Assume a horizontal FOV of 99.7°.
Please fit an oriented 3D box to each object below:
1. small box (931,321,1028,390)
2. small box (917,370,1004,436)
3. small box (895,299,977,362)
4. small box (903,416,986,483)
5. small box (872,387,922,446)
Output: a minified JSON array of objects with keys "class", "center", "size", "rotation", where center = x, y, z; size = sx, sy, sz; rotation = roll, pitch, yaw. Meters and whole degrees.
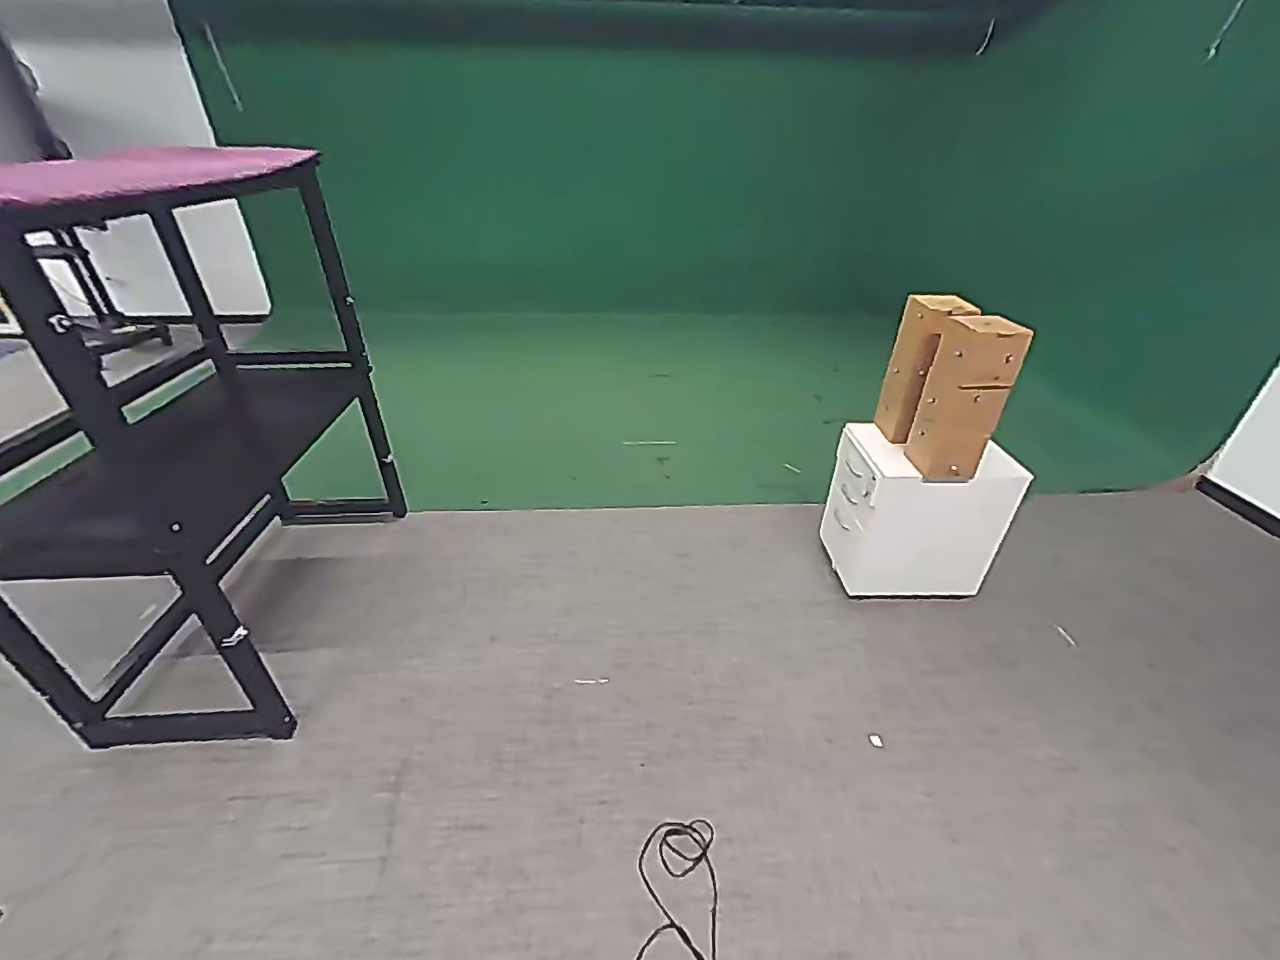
[{"class":"small box","center":[1.031,-0.383,1.658],"size":[0.168,0.176,0.179],"rotation":[0,31,-2]},{"class":"small box","center":[1.027,-0.249,1.752],"size":[0.179,0.176,0.168],"rotation":[-1,33,-4]},{"class":"small box","center":[1.008,-0.513,1.863],"size":[0.168,0.176,0.179],"rotation":[1,34,-2]},{"class":"small box","center":[1.022,-0.105,1.833],"size":[0.168,0.176,0.179],"rotation":[0,32,-1]},{"class":"small box","center":[1.002,-0.238,2.041],"size":[0.168,0.176,0.179],"rotation":[0,33,-1]}]
